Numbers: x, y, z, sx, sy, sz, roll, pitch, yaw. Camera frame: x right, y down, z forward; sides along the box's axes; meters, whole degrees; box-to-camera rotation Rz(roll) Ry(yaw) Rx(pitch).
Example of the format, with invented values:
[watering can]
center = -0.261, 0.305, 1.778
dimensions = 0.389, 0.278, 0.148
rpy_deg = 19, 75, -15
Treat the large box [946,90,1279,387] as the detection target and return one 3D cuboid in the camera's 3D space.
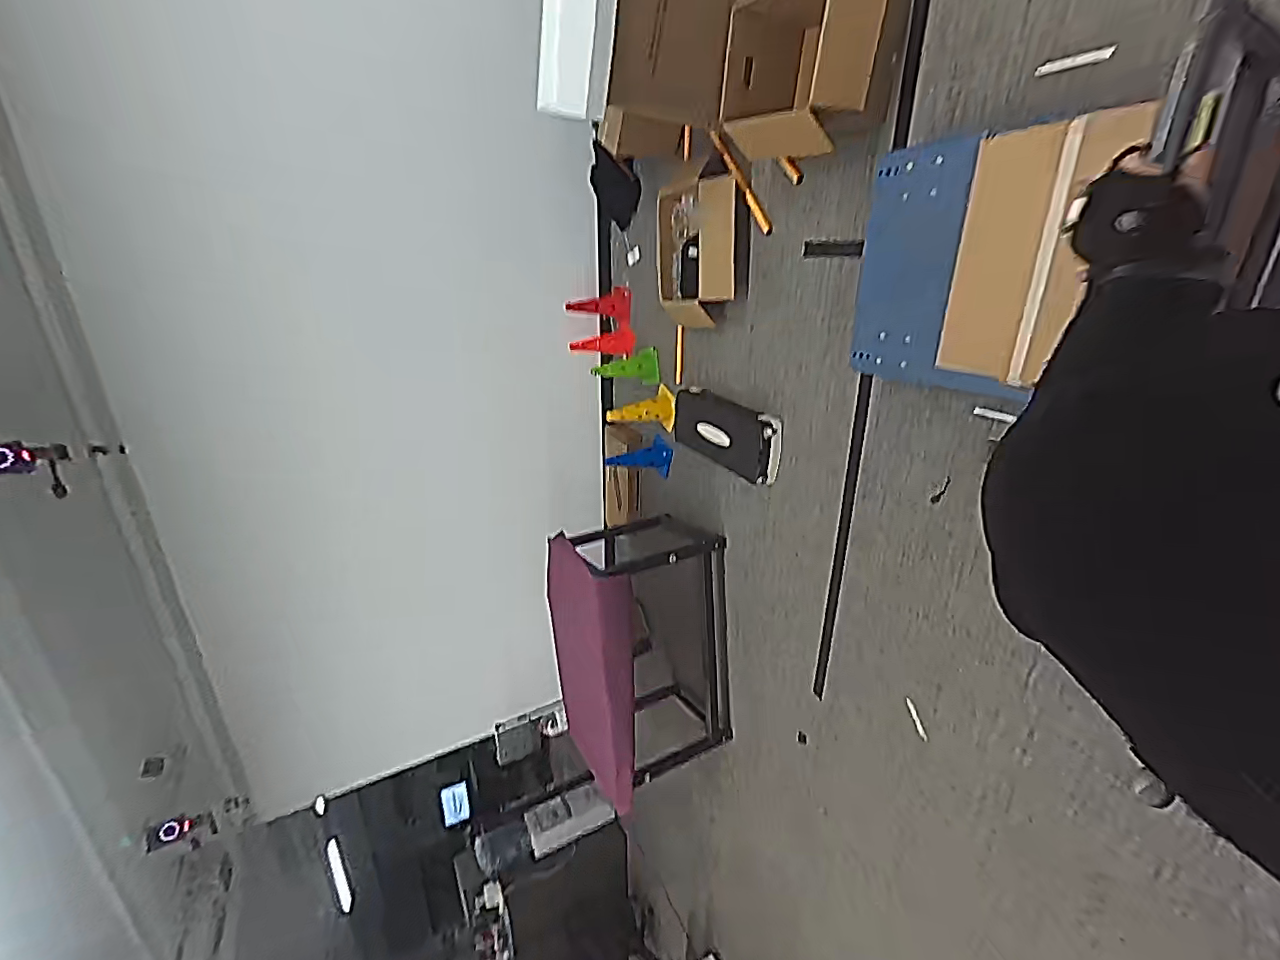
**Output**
[large box]
center = 0.820, -0.395, 0.966
dimensions = 0.320, 0.320, 0.408
rpy_deg = 32, 127, 55
